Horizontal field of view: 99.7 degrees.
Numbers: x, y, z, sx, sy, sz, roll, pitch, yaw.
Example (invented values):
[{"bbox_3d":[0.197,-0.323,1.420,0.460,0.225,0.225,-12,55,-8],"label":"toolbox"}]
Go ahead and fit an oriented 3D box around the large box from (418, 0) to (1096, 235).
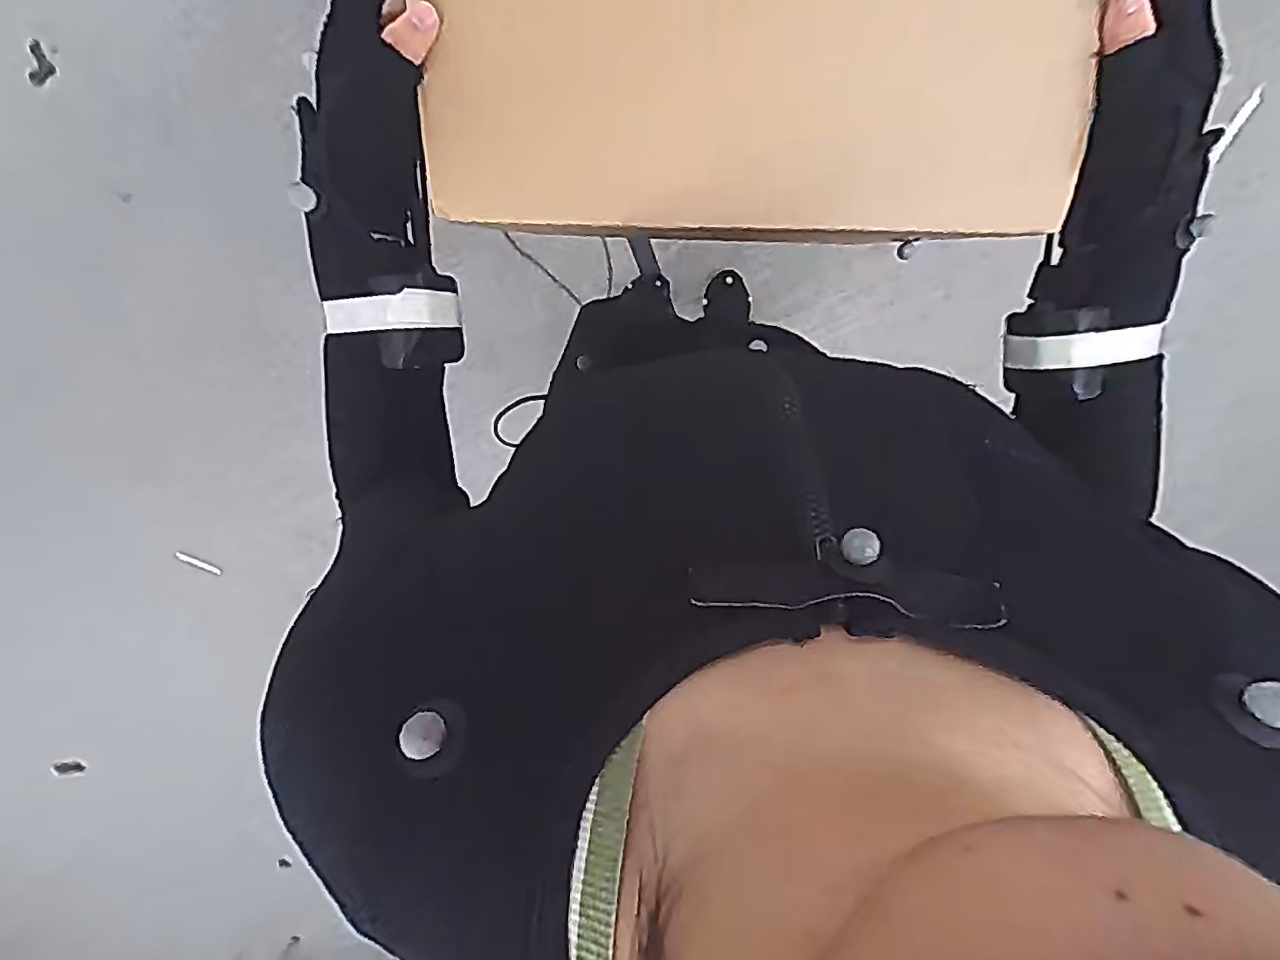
[{"bbox_3d":[0.069,-0.369,0.437,0.408,0.320,0.320,0,113,-1],"label":"large box"}]
